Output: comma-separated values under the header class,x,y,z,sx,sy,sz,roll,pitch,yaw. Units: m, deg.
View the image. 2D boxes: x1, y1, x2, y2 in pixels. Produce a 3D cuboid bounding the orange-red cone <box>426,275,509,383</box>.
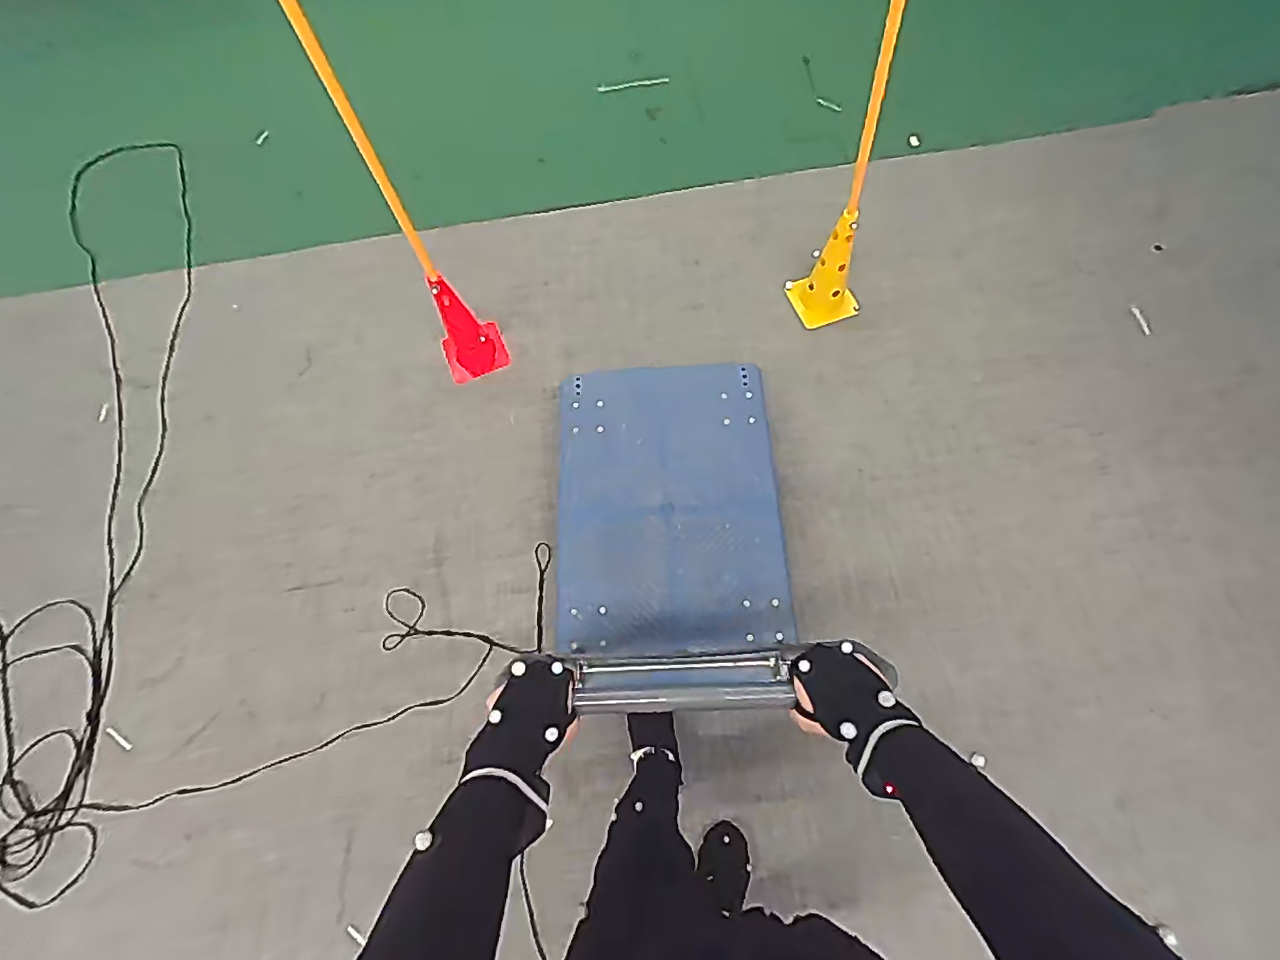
class,x,y,z,sx,sy,sz,roll,pitch,yaw
orange-red cone,-0.570,-0.493,1.676,0.199,0.360,0.198,-23,68,-4
